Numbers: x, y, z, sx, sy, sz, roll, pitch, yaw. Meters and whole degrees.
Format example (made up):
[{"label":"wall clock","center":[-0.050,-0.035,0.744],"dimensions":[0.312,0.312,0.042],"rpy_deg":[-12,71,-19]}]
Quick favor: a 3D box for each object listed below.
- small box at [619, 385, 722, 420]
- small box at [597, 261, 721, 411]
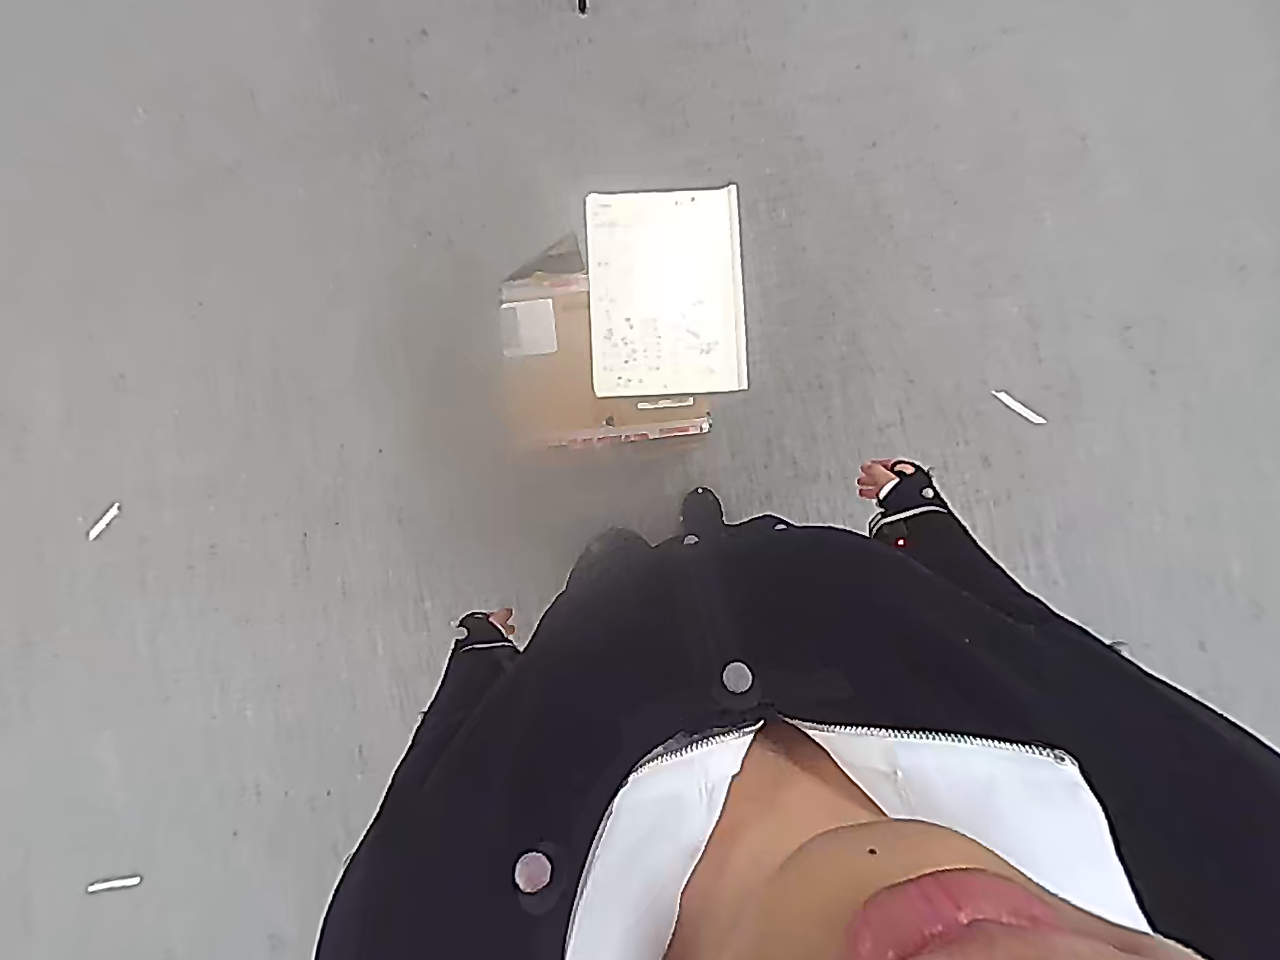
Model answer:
[{"label":"small box","center":[0.041,-0.205,0.970],"dimensions":[0.179,0.176,0.168],"rpy_deg":[-7,88,0]},{"label":"small box","center":[0.023,-0.205,0.806],"dimensions":[0.168,0.176,0.179],"rpy_deg":[-3,90,-1]}]
